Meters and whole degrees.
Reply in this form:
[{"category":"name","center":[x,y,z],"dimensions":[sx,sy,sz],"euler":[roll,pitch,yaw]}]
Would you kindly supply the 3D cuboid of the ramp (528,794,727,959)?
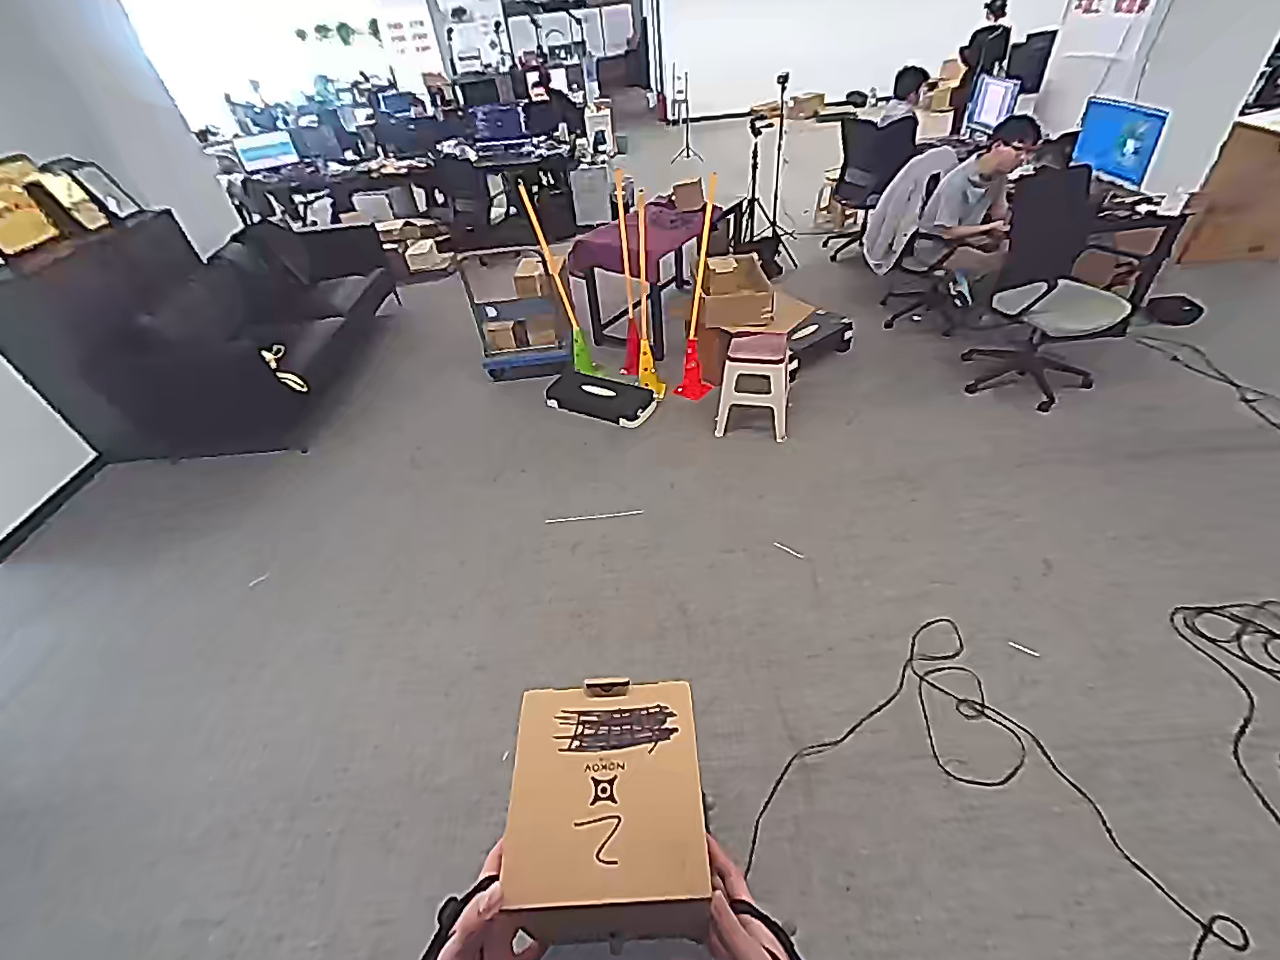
[{"category":"ramp","center":[-0.032,1.235,1.222],"dimensions":[0.509,0.206,0.991],"euler":[-8,40,1]}]
